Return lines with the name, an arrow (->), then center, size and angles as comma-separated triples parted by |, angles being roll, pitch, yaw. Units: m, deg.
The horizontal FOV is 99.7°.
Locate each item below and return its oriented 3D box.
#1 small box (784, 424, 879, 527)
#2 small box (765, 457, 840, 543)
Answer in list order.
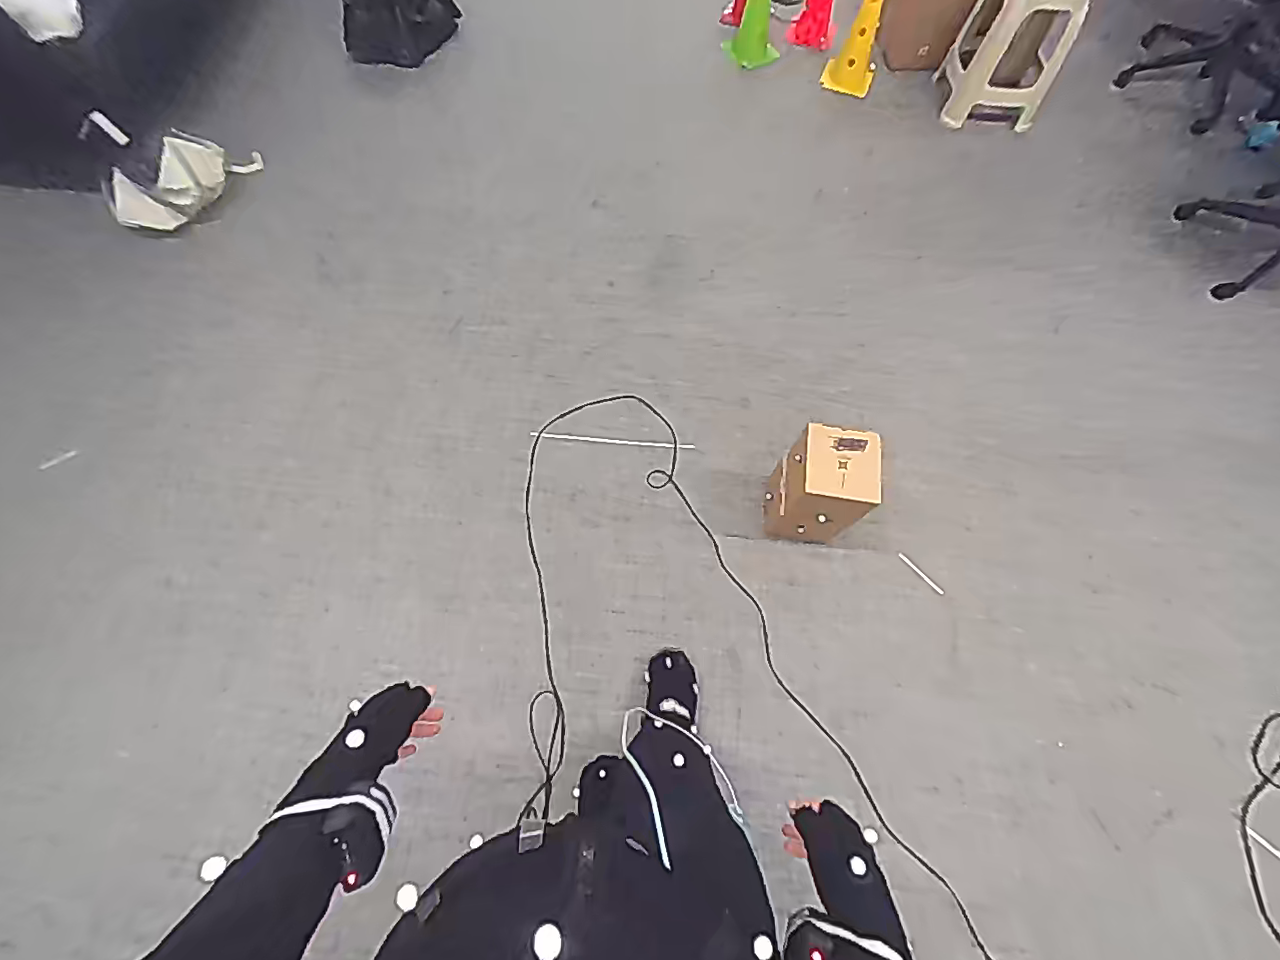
small box -> 0.442, -0.006, 1.266 | 0.168, 0.176, 0.179 | 9, 68, 2
small box -> 0.431, 0.057, 1.418 | 0.179, 0.176, 0.168 | 8, 67, 2
